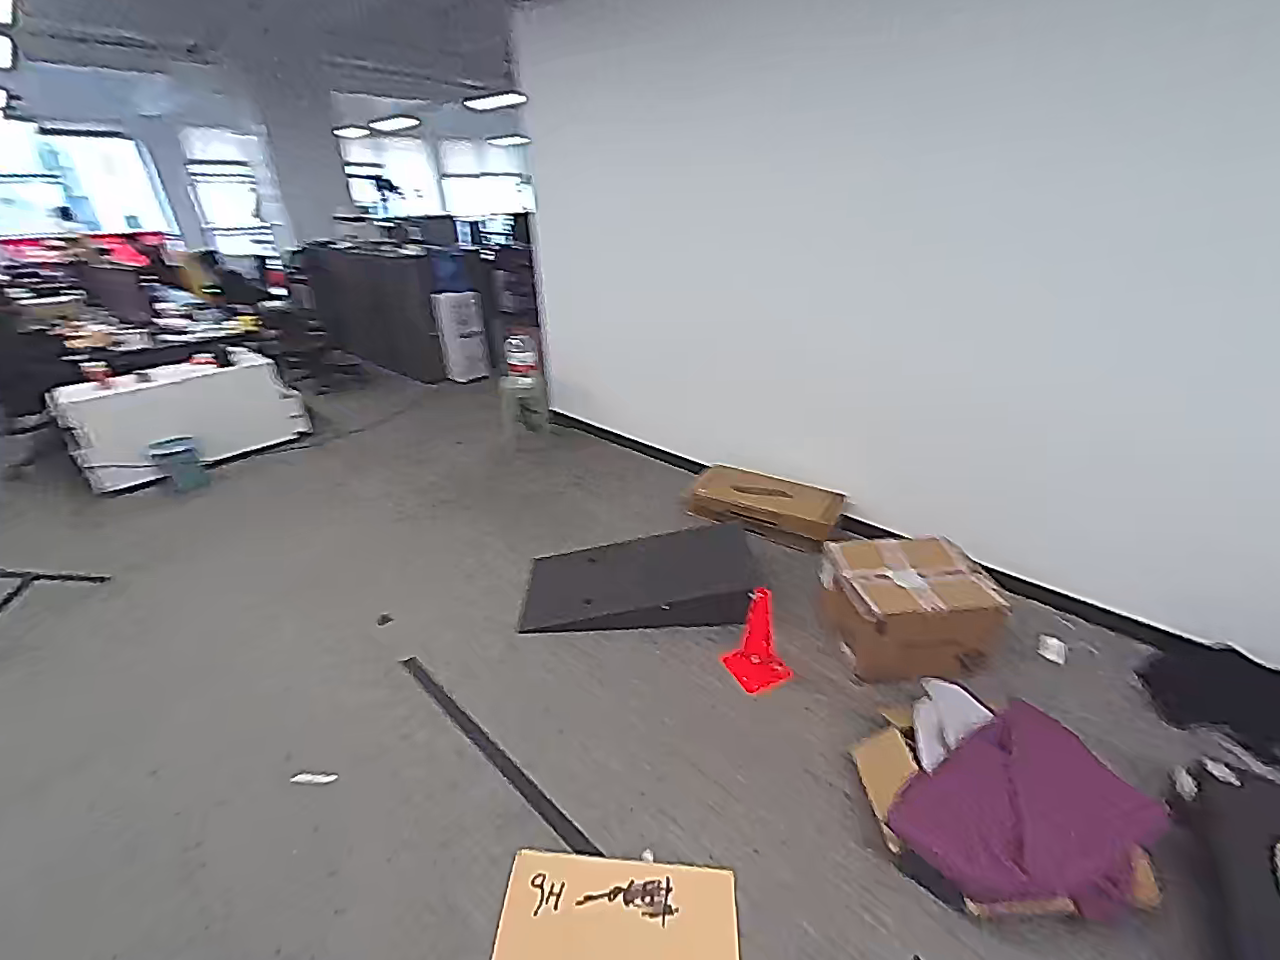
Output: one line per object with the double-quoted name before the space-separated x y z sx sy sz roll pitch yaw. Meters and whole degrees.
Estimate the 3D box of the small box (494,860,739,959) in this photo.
"small box" -0.019 0.401 0.380 0.168 0.176 0.179 3 38 1
